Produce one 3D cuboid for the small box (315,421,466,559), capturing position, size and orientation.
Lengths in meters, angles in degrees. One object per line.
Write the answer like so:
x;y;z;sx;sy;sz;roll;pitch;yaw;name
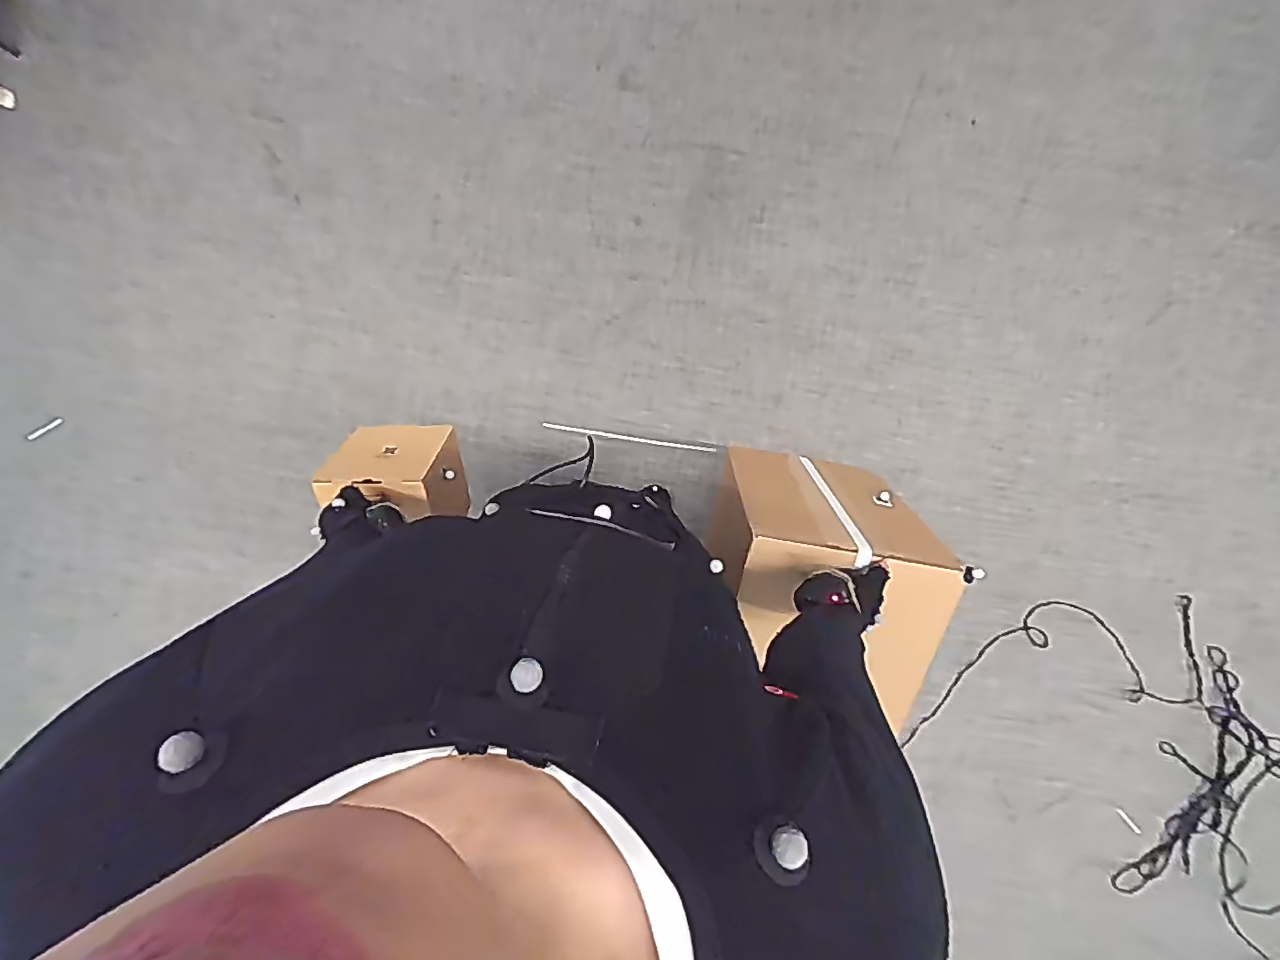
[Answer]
-0.403;0.014;0.912;0.168;0.179;0.176;-1;124;0;small box
